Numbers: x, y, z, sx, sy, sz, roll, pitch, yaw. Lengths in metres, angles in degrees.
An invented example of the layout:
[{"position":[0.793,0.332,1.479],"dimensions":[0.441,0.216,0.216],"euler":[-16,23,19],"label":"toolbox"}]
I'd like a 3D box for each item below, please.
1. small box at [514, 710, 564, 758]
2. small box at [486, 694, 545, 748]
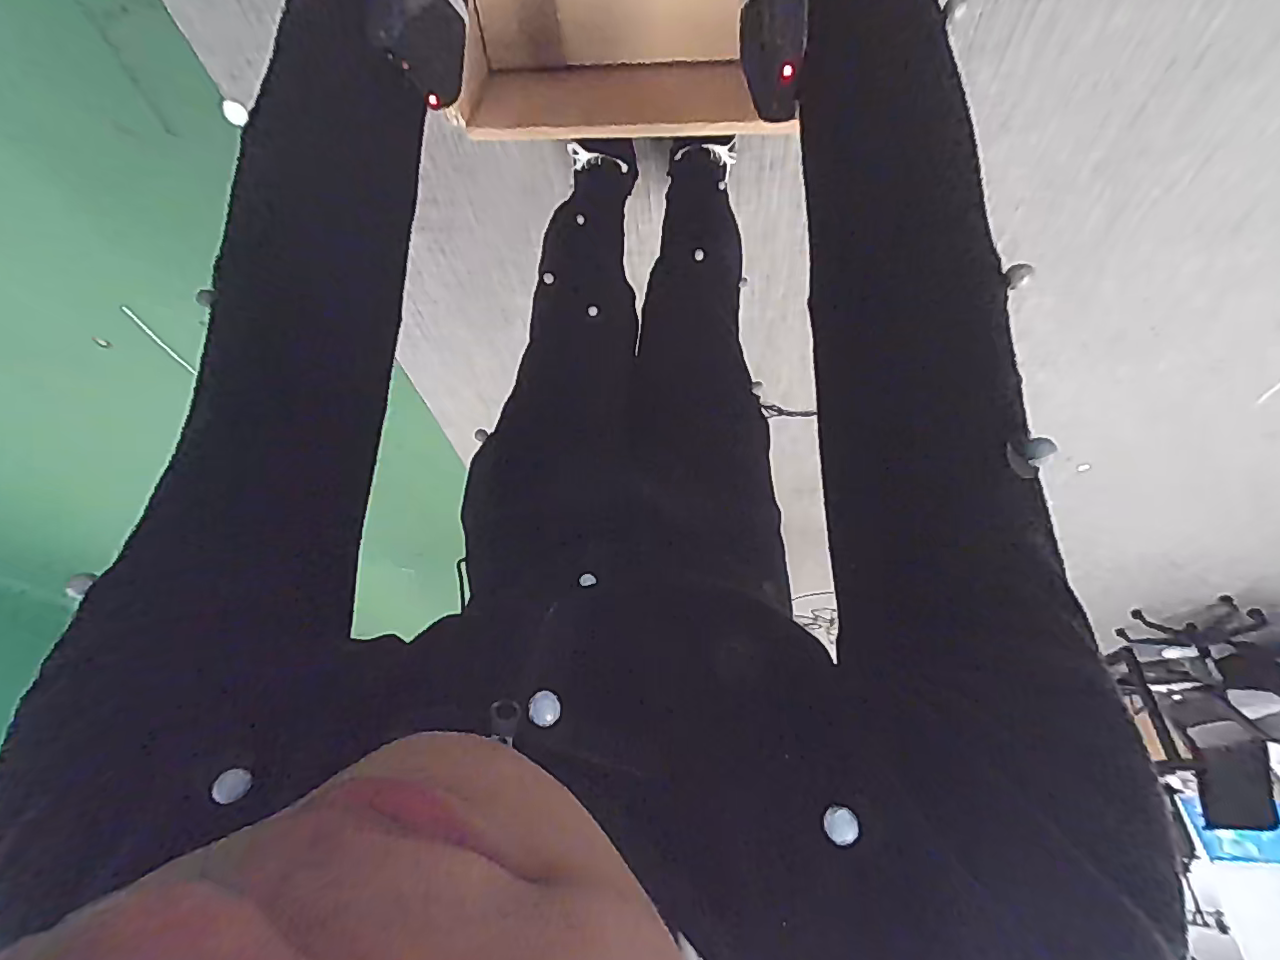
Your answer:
[{"position":[-0.428,1.081,2.308],"dimensions":[0.168,0.176,0.179],"euler":[-1,145,5],"label":"small box"},{"position":[-0.462,0.912,2.042],"dimensions":[0.168,0.176,0.179],"euler":[-3,148,5],"label":"small box"}]
